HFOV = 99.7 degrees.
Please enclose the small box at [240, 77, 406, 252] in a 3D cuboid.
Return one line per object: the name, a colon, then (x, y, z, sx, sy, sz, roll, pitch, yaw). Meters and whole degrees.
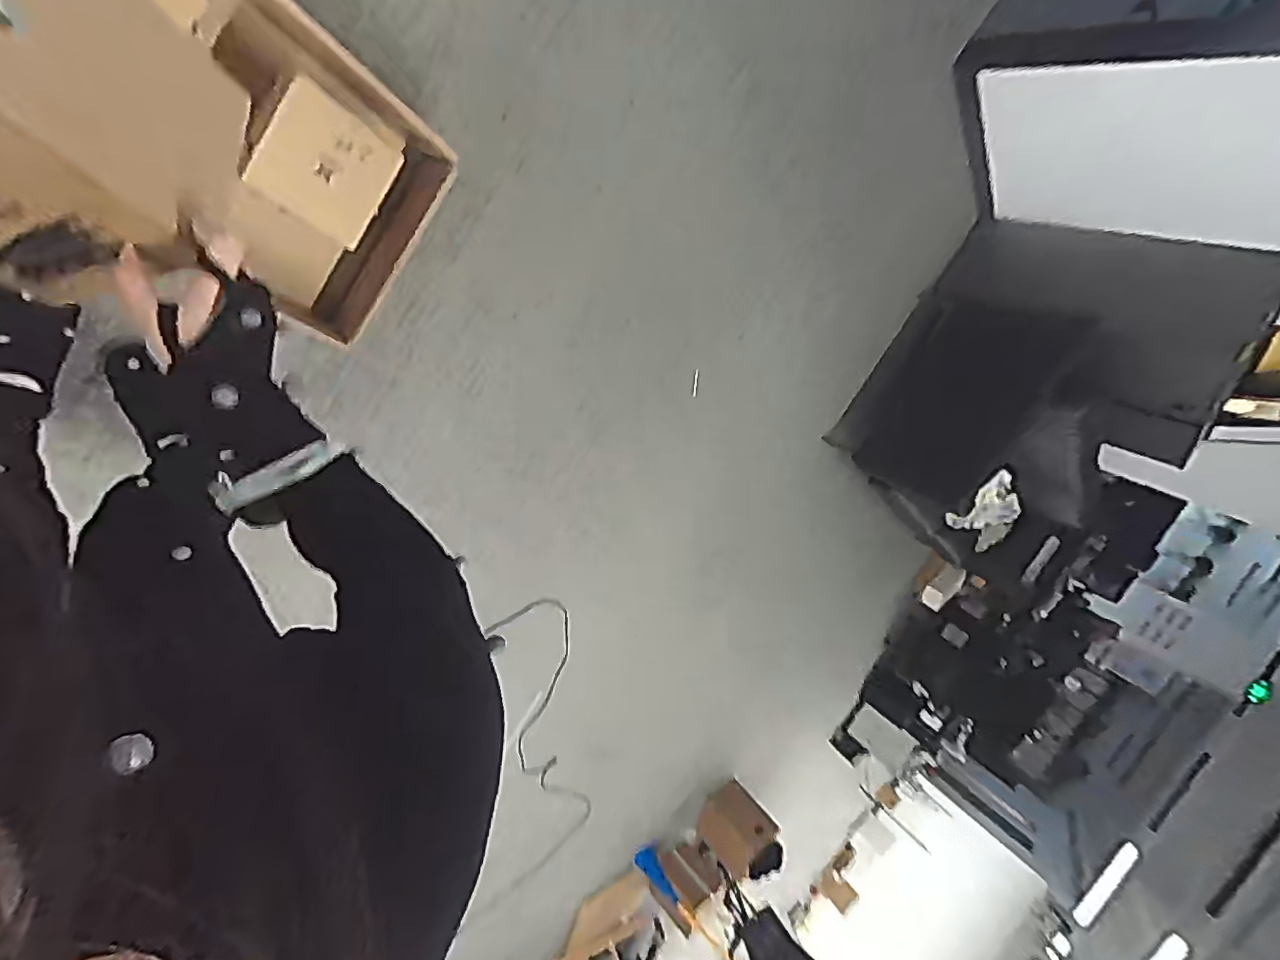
small box: (-0.521, -0.510, 0.883, 0.168, 0.176, 0.179, 28, 97, -49)
